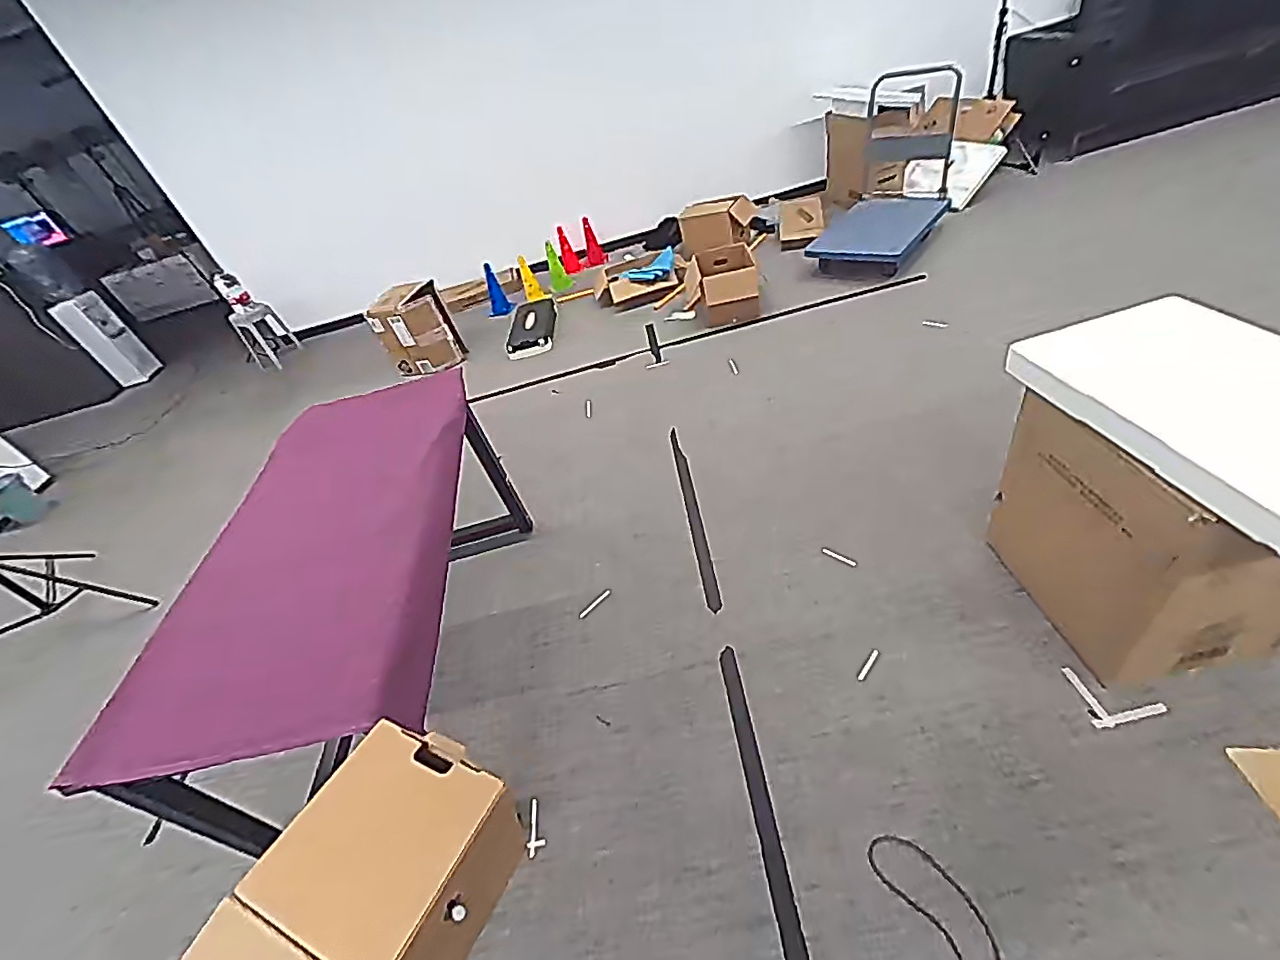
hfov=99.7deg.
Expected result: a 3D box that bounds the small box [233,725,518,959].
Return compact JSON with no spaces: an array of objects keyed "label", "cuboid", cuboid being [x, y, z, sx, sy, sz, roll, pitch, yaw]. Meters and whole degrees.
[{"label":"small box","cuboid":[-0.242,0.396,0.546,0.168,0.176,0.179,16,40,19]}]
